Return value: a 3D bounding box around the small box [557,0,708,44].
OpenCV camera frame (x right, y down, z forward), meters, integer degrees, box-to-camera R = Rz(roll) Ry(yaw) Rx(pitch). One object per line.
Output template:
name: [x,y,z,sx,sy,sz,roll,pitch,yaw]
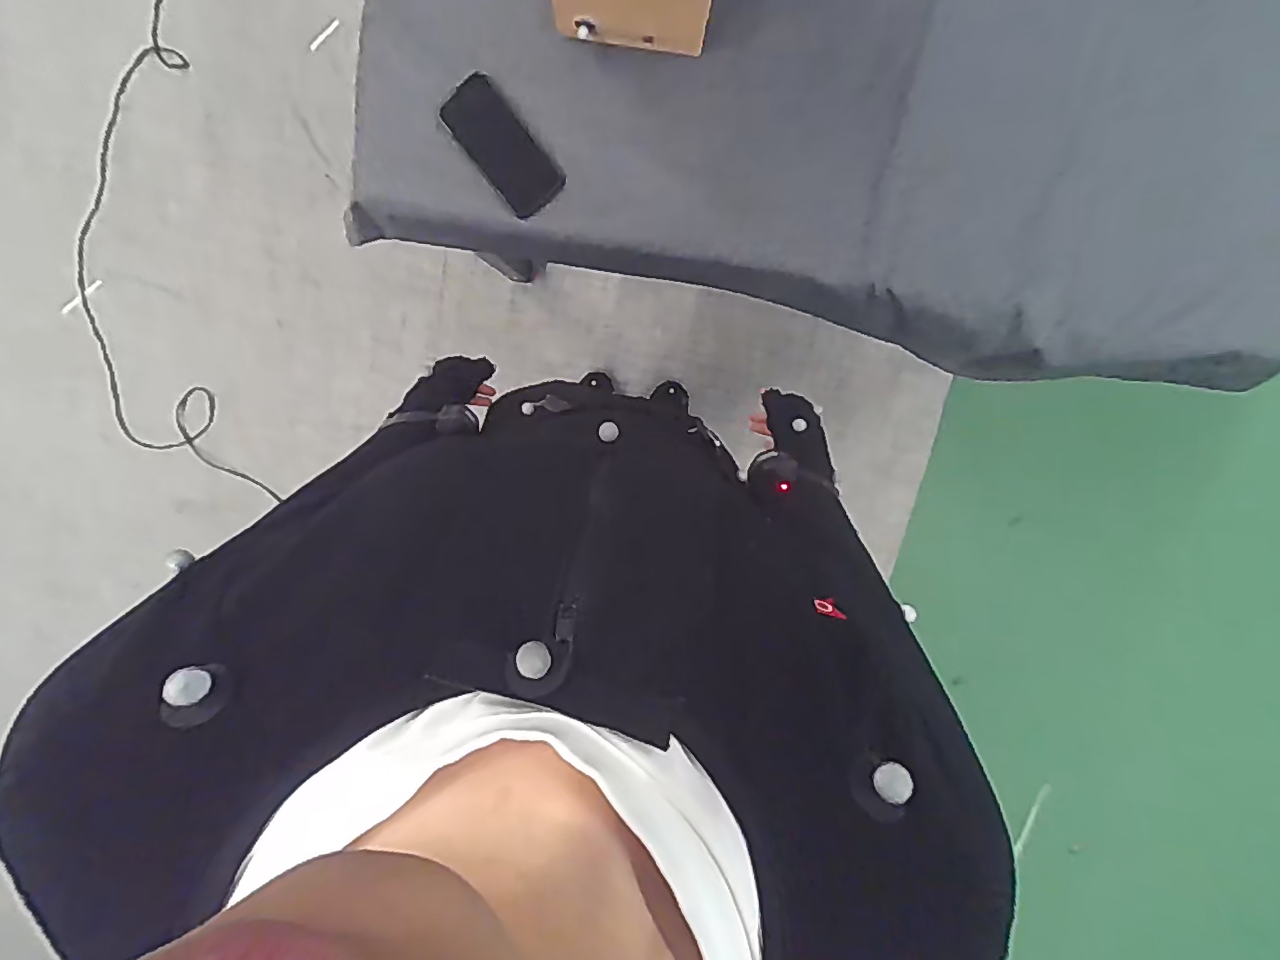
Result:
small box: [-0.002,-0.574,0.526,0.168,0.176,0.179,6,101,-2]
